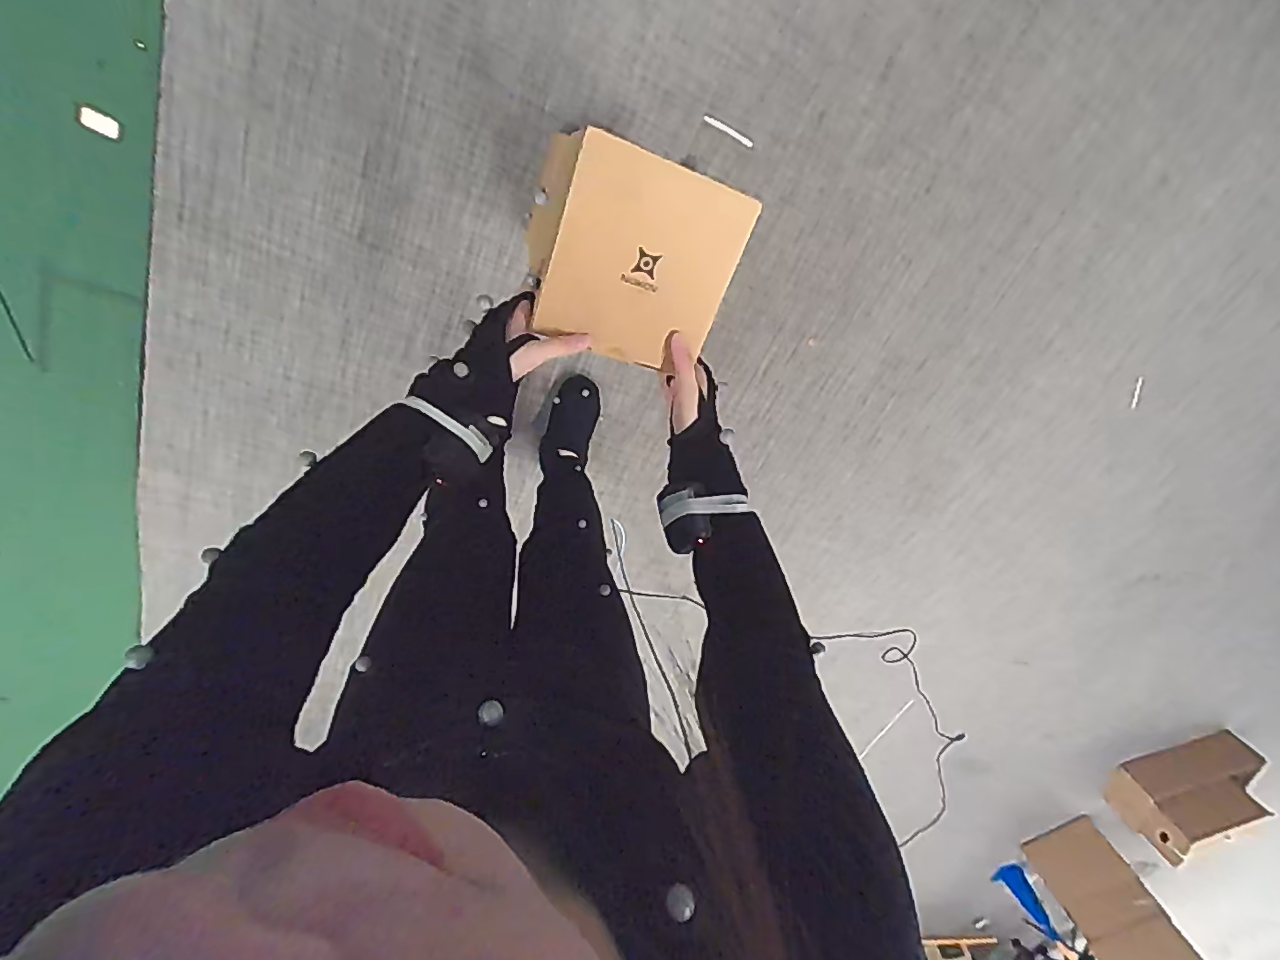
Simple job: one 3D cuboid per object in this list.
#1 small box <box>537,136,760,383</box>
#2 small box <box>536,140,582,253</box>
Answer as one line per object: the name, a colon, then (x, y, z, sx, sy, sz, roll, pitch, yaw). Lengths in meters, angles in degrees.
small box: (-0.008, -0.230, 0.564, 0.168, 0.176, 0.179, 14, 118, -18)
small box: (-0.065, -0.400, 0.839, 0.168, 0.176, 0.179, 13, 118, -18)
